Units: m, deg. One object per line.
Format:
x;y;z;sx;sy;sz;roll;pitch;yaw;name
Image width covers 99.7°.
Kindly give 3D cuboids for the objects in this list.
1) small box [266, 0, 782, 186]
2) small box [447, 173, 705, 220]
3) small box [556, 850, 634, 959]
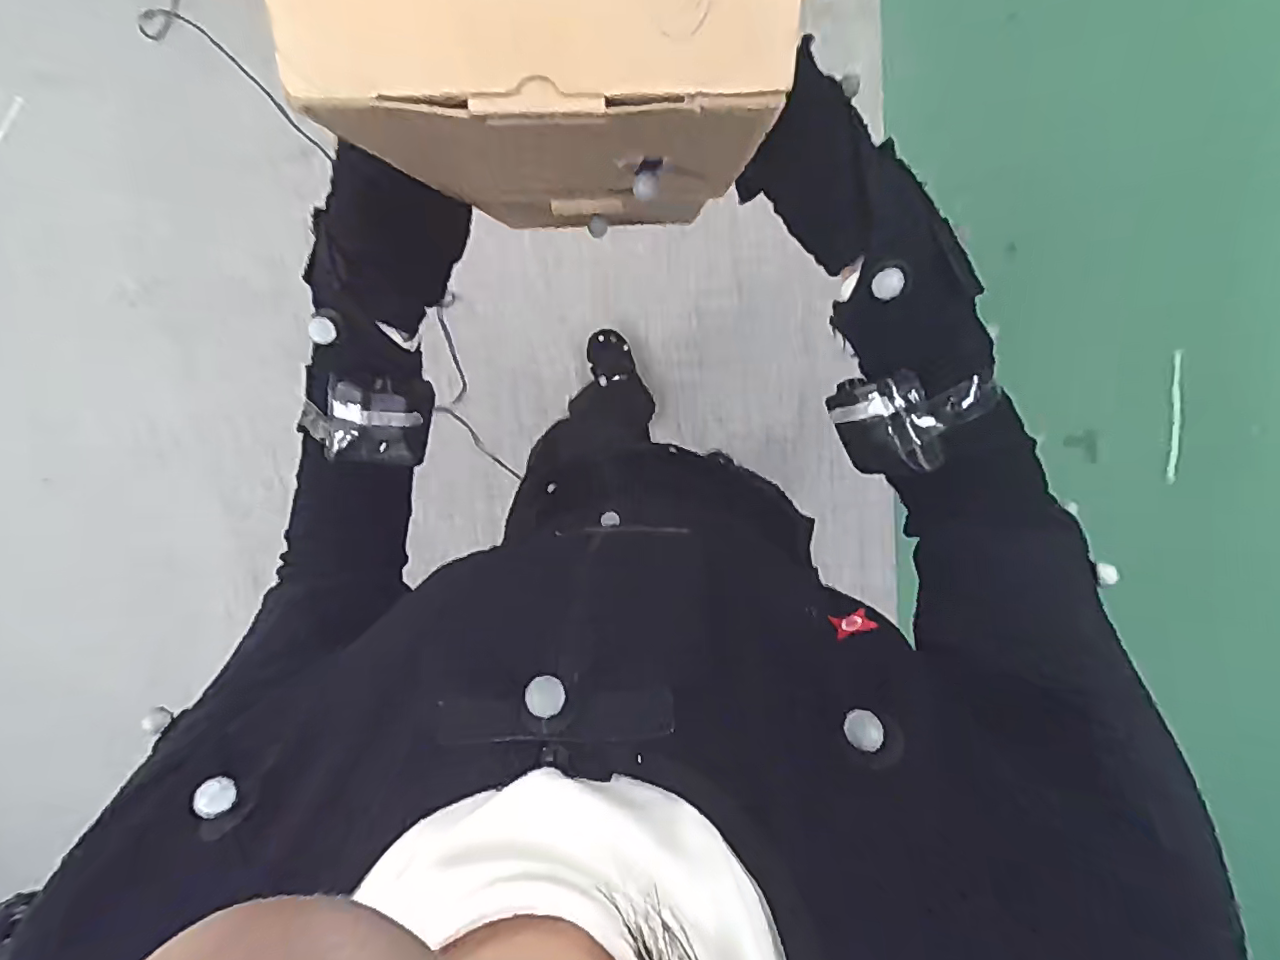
-0.036;-0.235;0.227;0.168;0.176;0.179;-1;106;-1;small box
-0.040;-0.288;0.381;0.168;0.176;0.179;-3;108;0;small box
-0.116;1.140;1.460;0.179;0.176;0.168;-6;98;3;small box
